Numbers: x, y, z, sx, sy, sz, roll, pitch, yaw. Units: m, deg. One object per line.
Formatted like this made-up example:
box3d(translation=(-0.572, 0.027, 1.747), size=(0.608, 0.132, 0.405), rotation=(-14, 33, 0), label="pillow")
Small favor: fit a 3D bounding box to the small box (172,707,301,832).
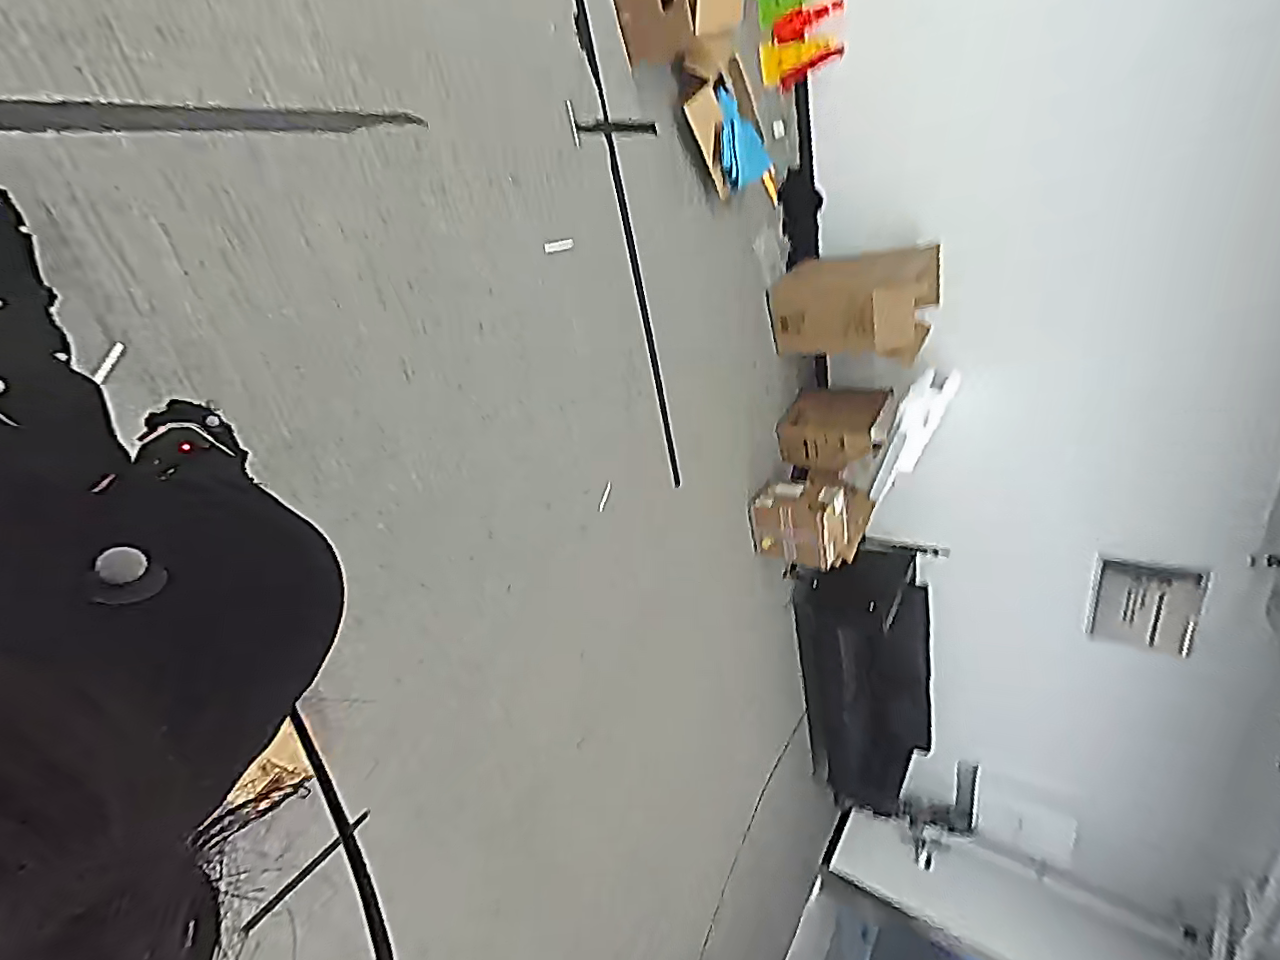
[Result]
box3d(translation=(-0.957, 0.676, 1.284), size=(0.168, 0.176, 0.179), rotation=(-39, 124, -43), label="small box")
